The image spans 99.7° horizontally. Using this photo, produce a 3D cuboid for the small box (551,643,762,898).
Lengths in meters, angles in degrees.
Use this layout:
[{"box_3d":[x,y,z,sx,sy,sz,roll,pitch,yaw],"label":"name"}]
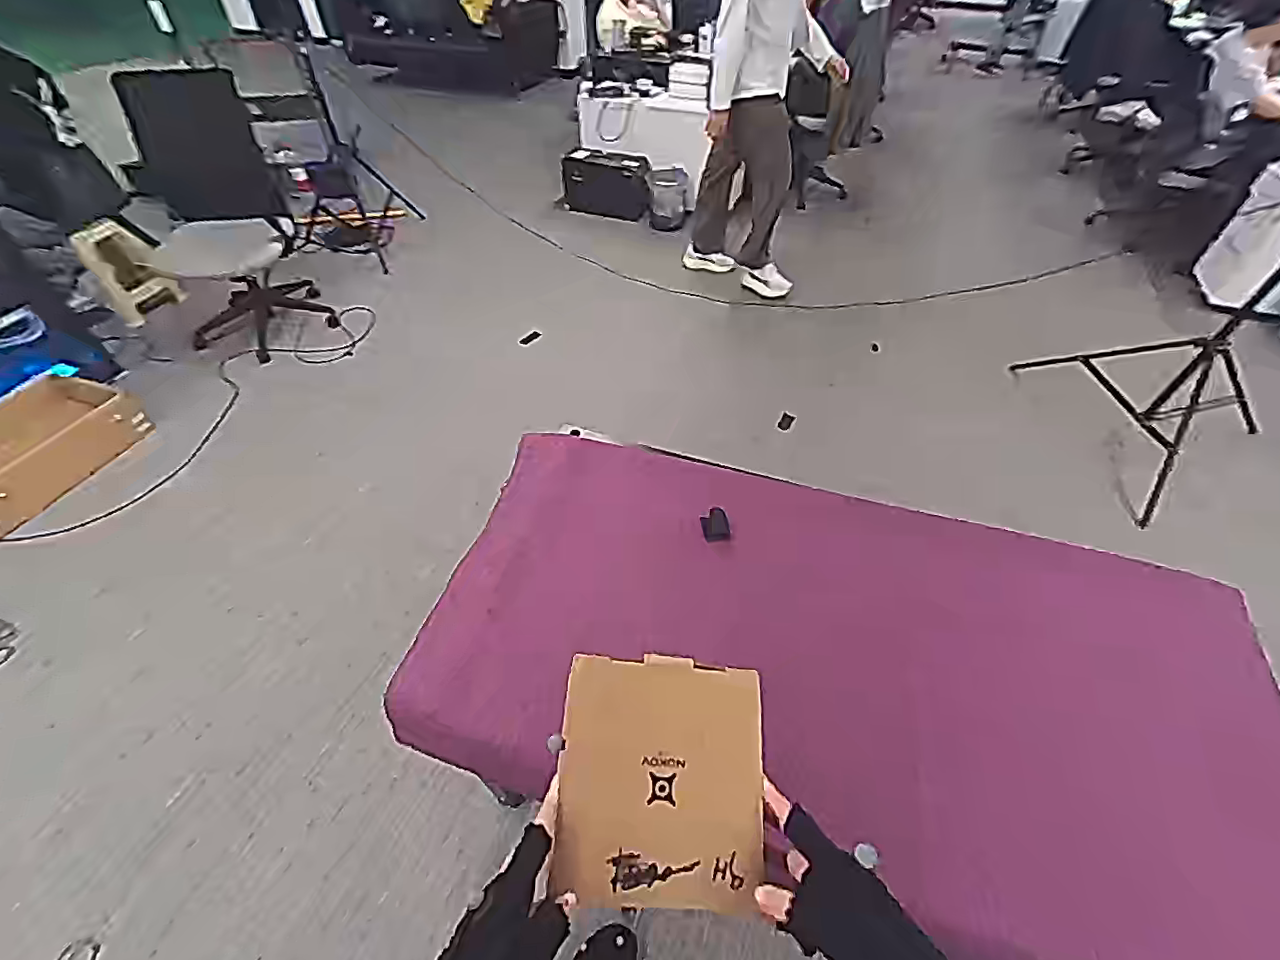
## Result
[{"box_3d":[0.009,0.262,0.513,0.168,0.176,0.179,8,66,-6],"label":"small box"}]
